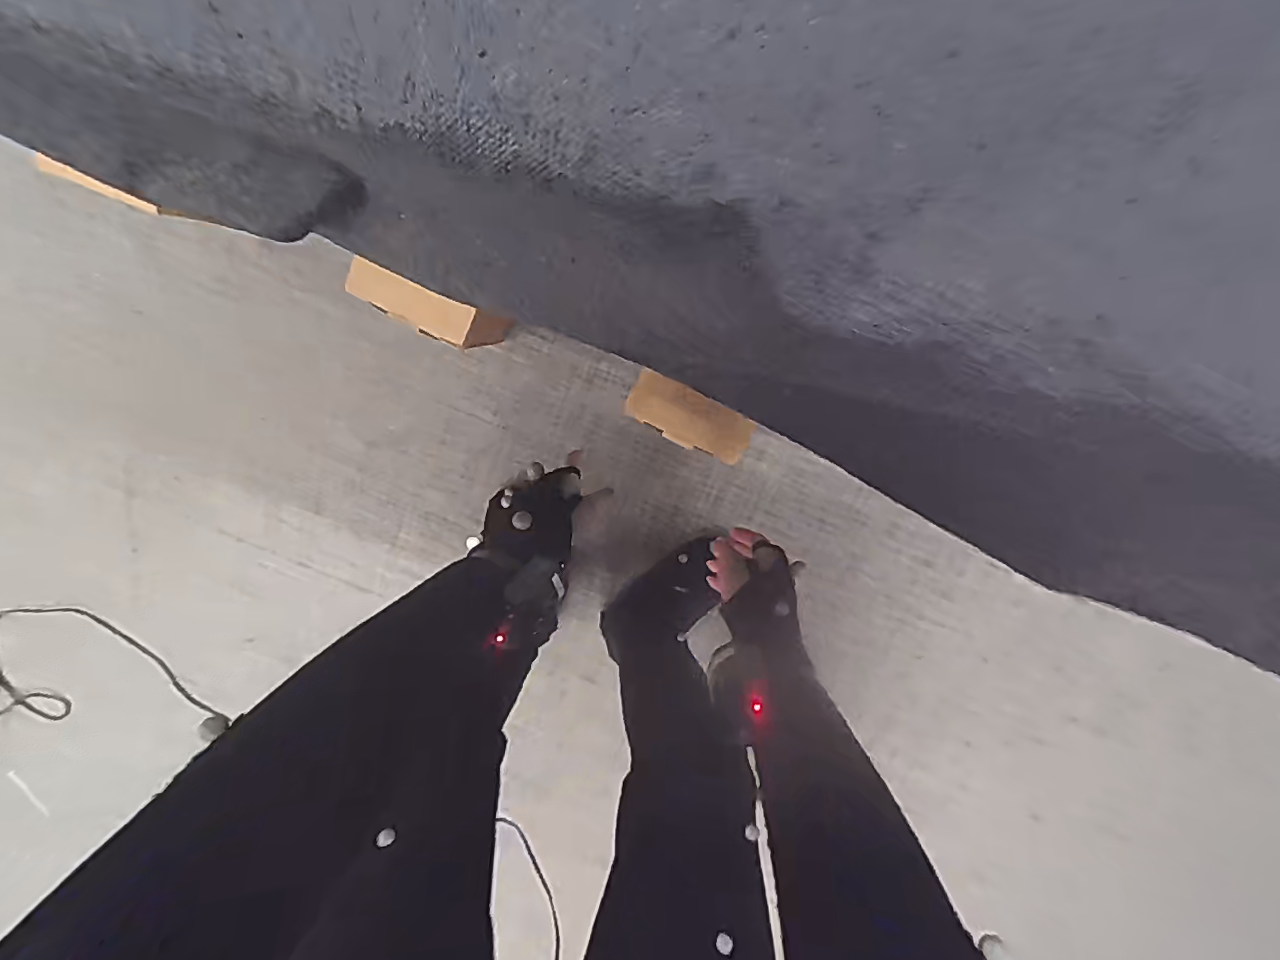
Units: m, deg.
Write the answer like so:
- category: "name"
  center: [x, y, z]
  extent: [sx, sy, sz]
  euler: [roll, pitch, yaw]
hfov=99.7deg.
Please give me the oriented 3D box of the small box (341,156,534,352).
- category: "small box"
  center: [-0.261, -0.293, 0.733]
  extent: [0.168, 0.176, 0.179]
  euler: [25, 107, -4]

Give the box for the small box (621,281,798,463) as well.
- category: "small box"
  center: [0.092, -0.151, 0.742]
  extent: [0.168, 0.176, 0.179]
  euler: [25, 108, -2]
